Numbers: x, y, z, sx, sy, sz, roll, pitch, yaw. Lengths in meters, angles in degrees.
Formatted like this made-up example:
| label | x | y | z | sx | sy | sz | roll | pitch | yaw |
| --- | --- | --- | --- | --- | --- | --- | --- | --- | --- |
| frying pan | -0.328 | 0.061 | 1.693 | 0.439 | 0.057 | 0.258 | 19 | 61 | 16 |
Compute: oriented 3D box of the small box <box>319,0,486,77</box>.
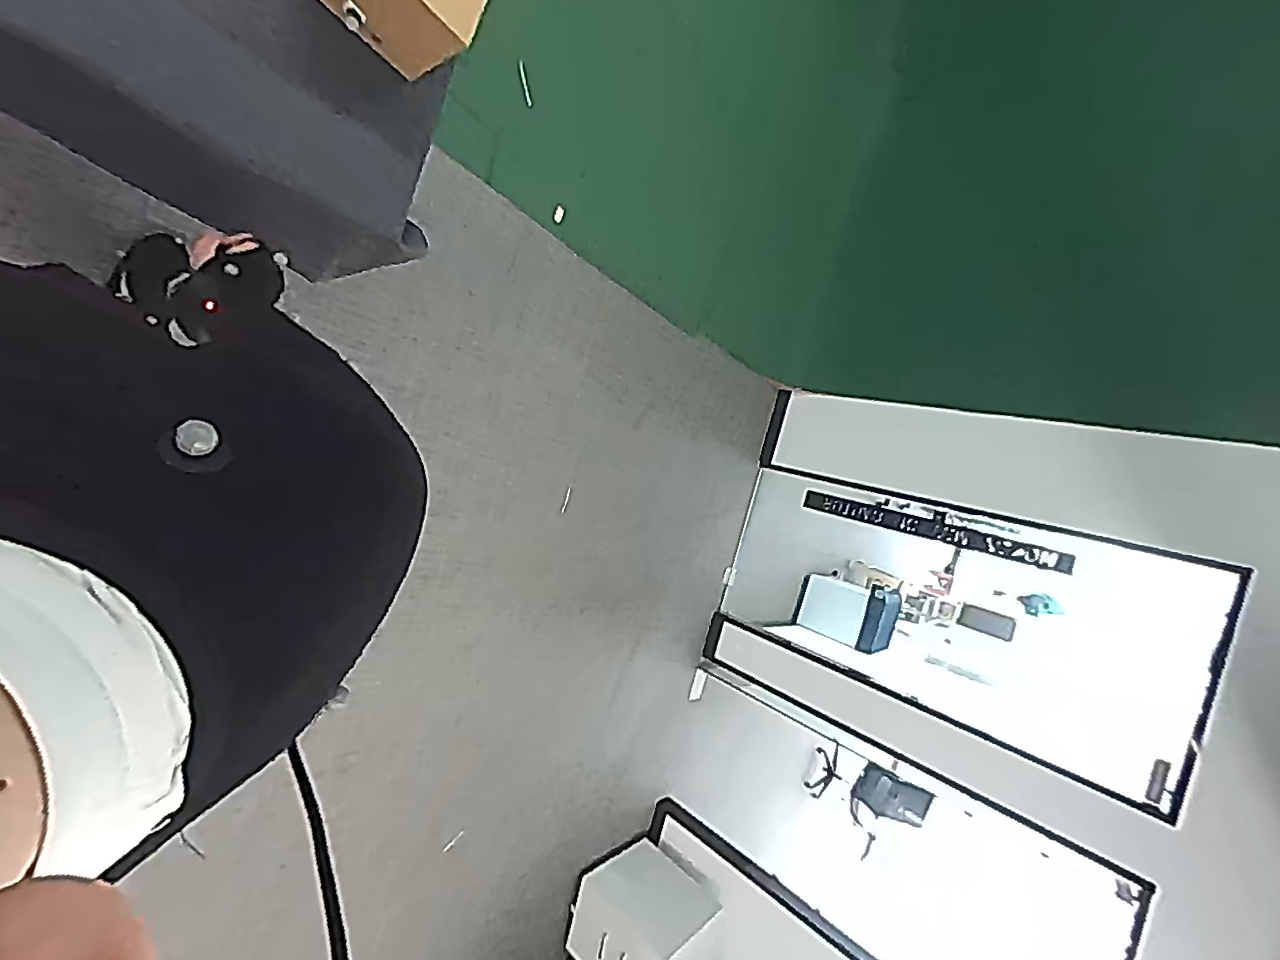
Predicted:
| label | x | y | z | sx | sy | sz | roll | pitch | yaw |
| --- | --- | --- | --- | --- | --- | --- | --- | --- | --- |
| small box | -0.289 | -0.650 | 0.660 | 0.168 | 0.176 | 0.179 | 27 | 82 | -48 |
